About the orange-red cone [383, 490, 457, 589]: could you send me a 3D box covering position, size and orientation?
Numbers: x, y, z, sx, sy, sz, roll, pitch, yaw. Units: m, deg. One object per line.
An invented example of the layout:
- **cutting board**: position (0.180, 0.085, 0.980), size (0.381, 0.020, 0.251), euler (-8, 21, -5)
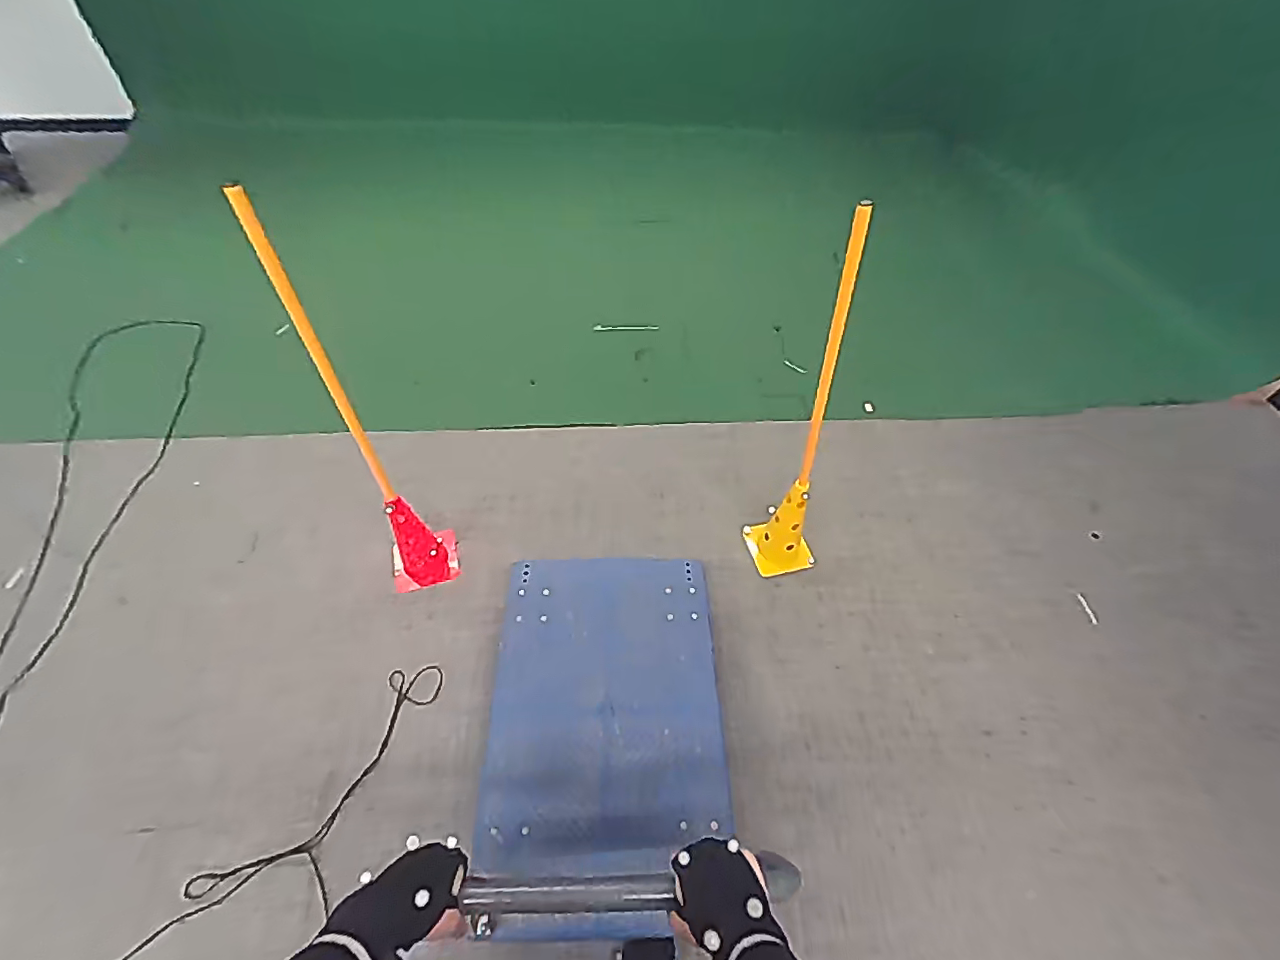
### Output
- **orange-red cone**: position (-0.709, 0.154, 1.653), size (0.199, 0.360, 0.198), euler (-14, 53, -11)
